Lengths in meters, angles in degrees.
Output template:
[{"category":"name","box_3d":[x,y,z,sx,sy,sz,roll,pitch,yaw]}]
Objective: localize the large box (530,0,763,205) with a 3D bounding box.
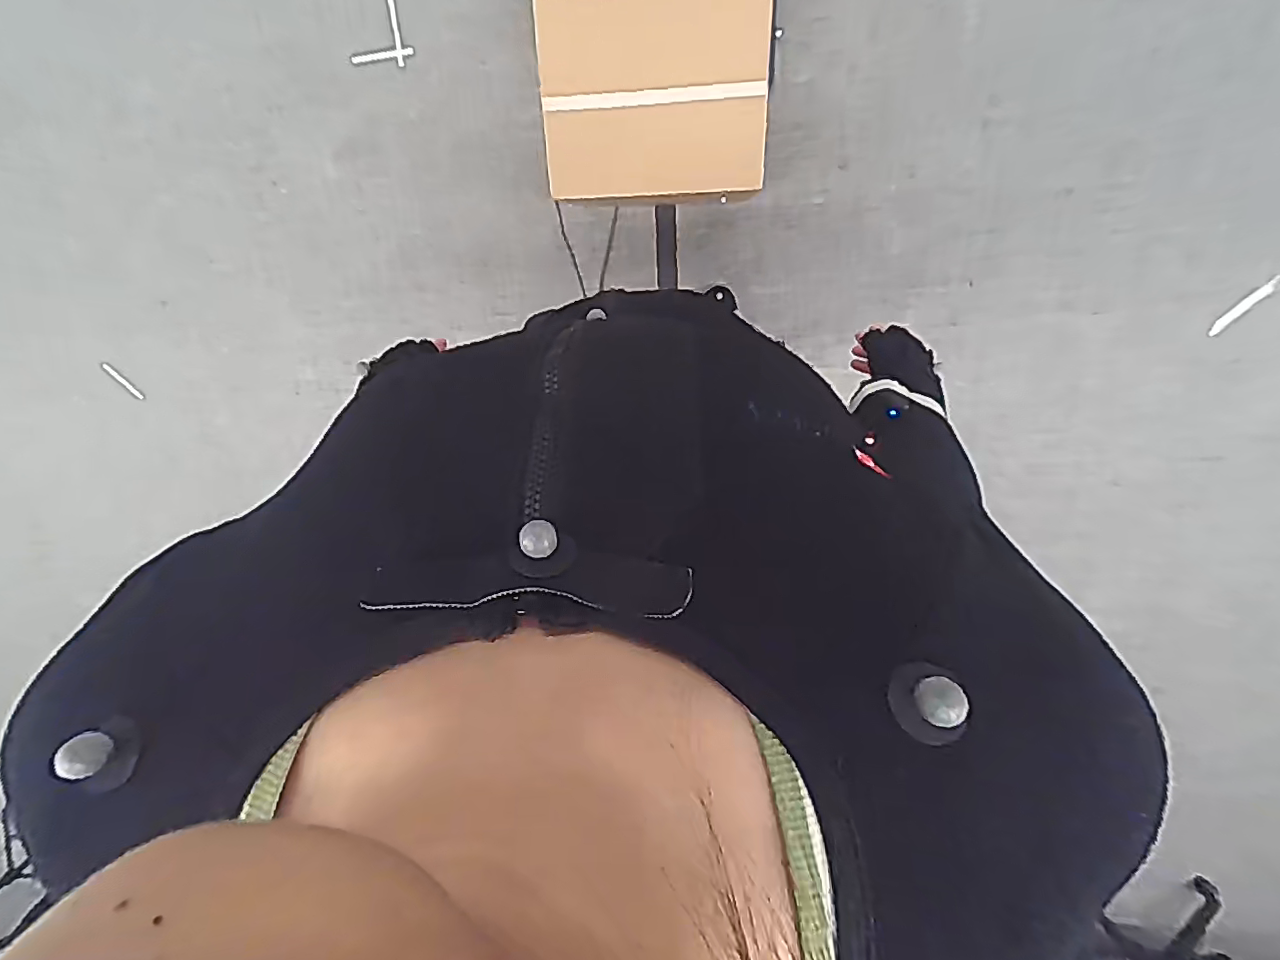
[{"category":"large box","box_3d":[0.027,-0.747,1.102,0.408,0.320,0.320,0,114,5]}]
